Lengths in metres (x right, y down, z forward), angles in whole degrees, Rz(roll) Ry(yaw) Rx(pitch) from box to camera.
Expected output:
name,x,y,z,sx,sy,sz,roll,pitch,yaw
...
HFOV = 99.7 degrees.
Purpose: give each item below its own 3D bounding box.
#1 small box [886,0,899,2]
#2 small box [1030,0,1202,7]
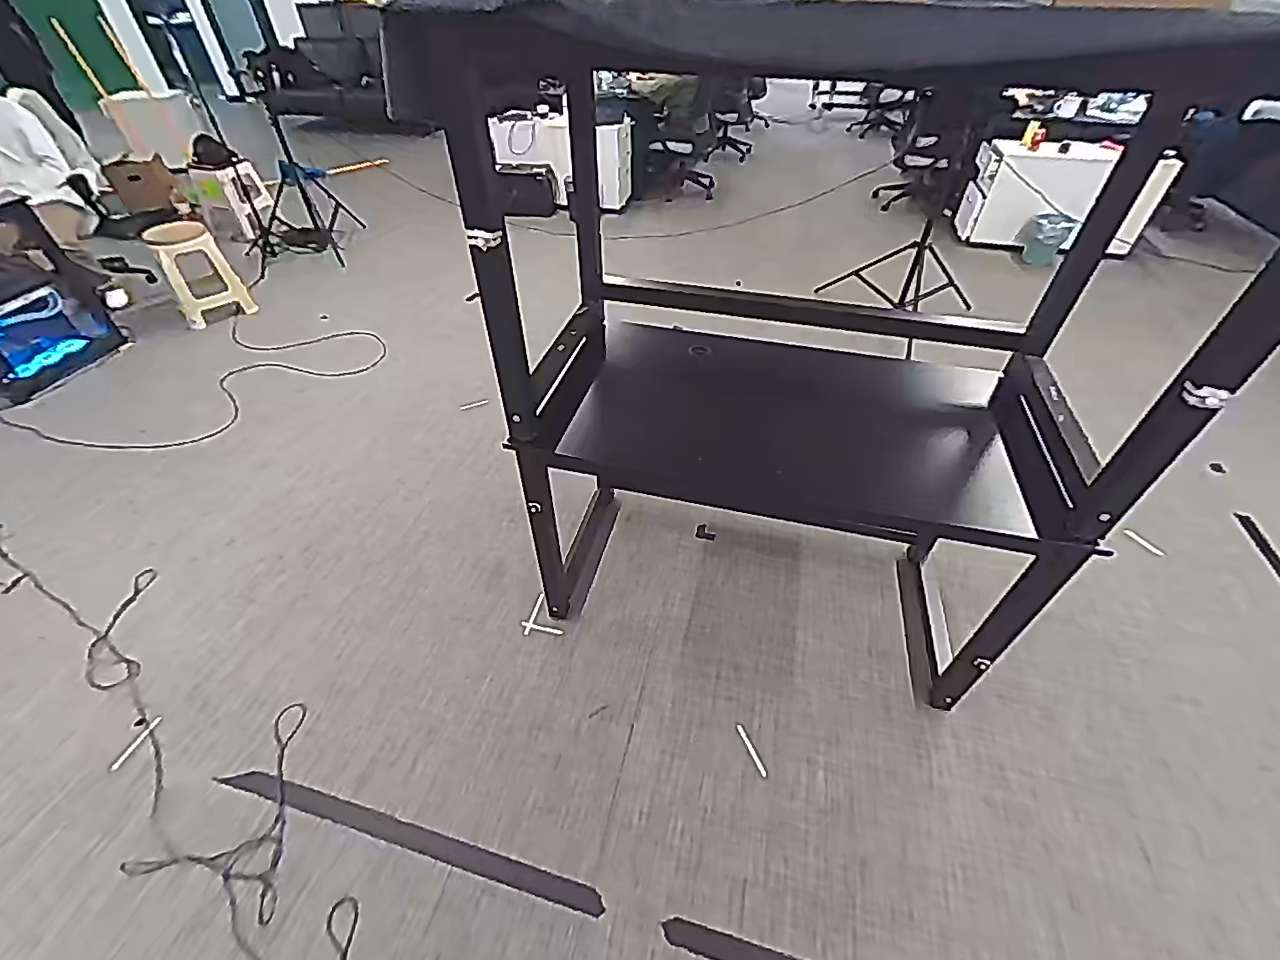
name,x,y,z,sx,sy,sz,roll,pitch,yaw
small box,0.262,-0.672,0.627,0.168,0.176,0.179,11,43,11
small box,0.553,-0.622,0.578,0.168,0.176,0.179,13,43,13
